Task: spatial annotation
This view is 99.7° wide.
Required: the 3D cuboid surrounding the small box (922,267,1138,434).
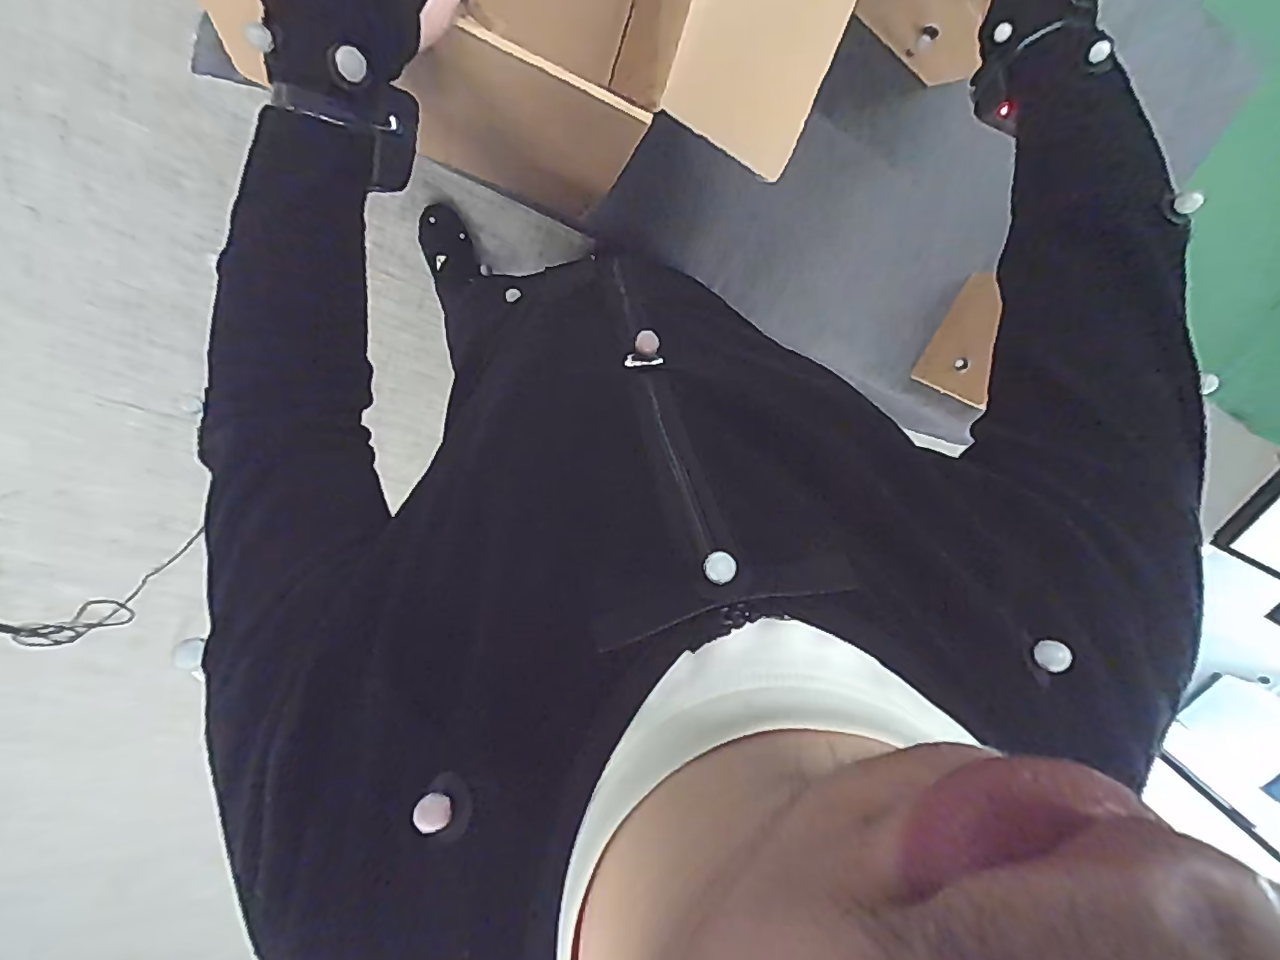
[{"bbox_3d":[0.569,-0.200,0.820,0.168,0.176,0.179,16,113,-22],"label":"small box"}]
